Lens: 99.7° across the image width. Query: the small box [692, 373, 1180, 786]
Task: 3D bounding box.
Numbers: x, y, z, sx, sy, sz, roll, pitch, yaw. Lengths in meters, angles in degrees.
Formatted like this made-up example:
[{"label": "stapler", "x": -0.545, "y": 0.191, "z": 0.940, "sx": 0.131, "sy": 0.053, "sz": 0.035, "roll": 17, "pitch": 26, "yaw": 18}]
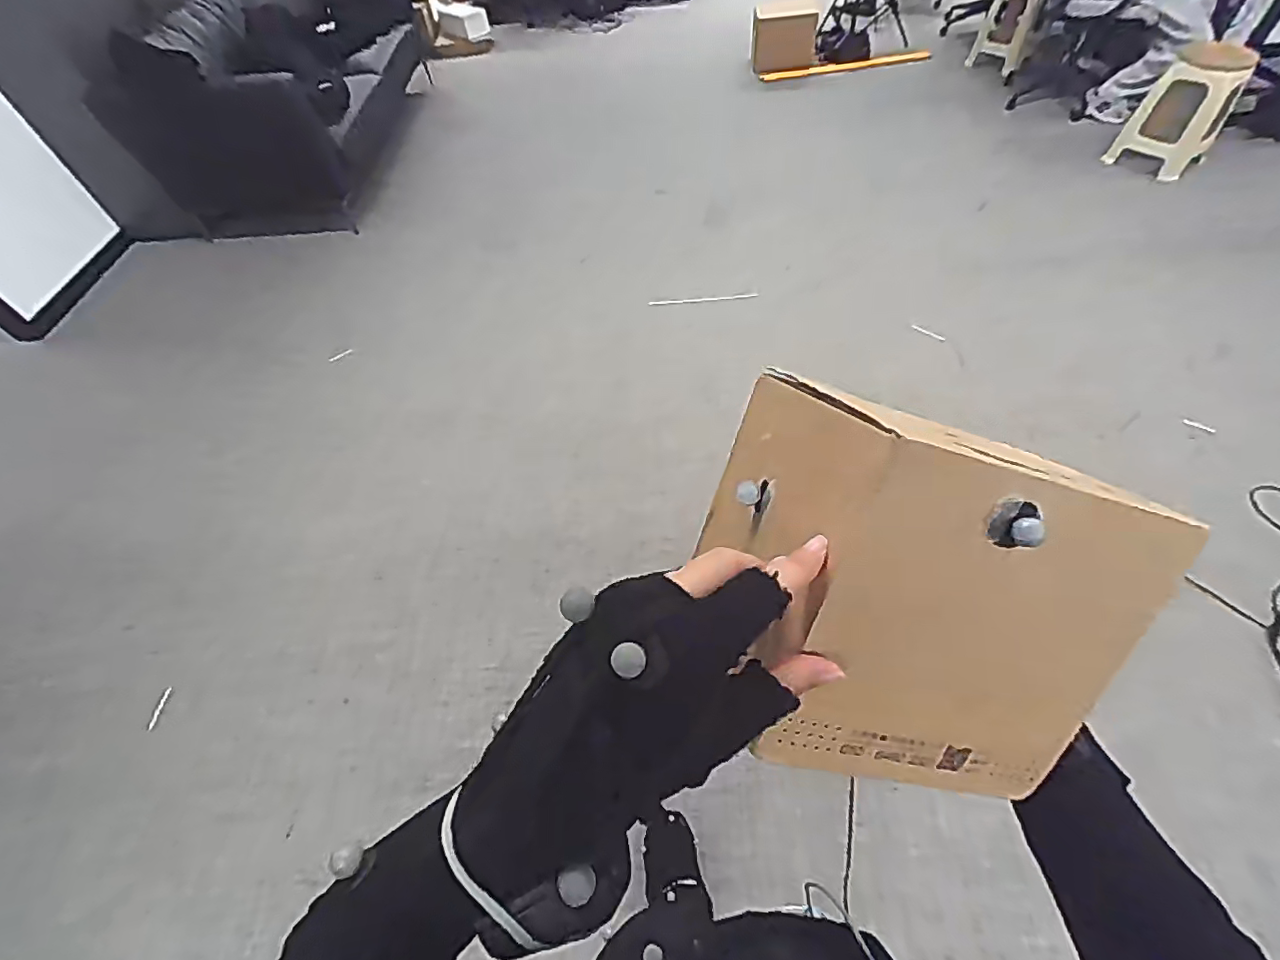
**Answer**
[{"label": "small box", "x": 0.144, "y": 0.048, "z": 0.340, "sx": 0.168, "sy": 0.176, "sz": 0.179, "roll": 14, "pitch": 17, "yaw": -11}]
